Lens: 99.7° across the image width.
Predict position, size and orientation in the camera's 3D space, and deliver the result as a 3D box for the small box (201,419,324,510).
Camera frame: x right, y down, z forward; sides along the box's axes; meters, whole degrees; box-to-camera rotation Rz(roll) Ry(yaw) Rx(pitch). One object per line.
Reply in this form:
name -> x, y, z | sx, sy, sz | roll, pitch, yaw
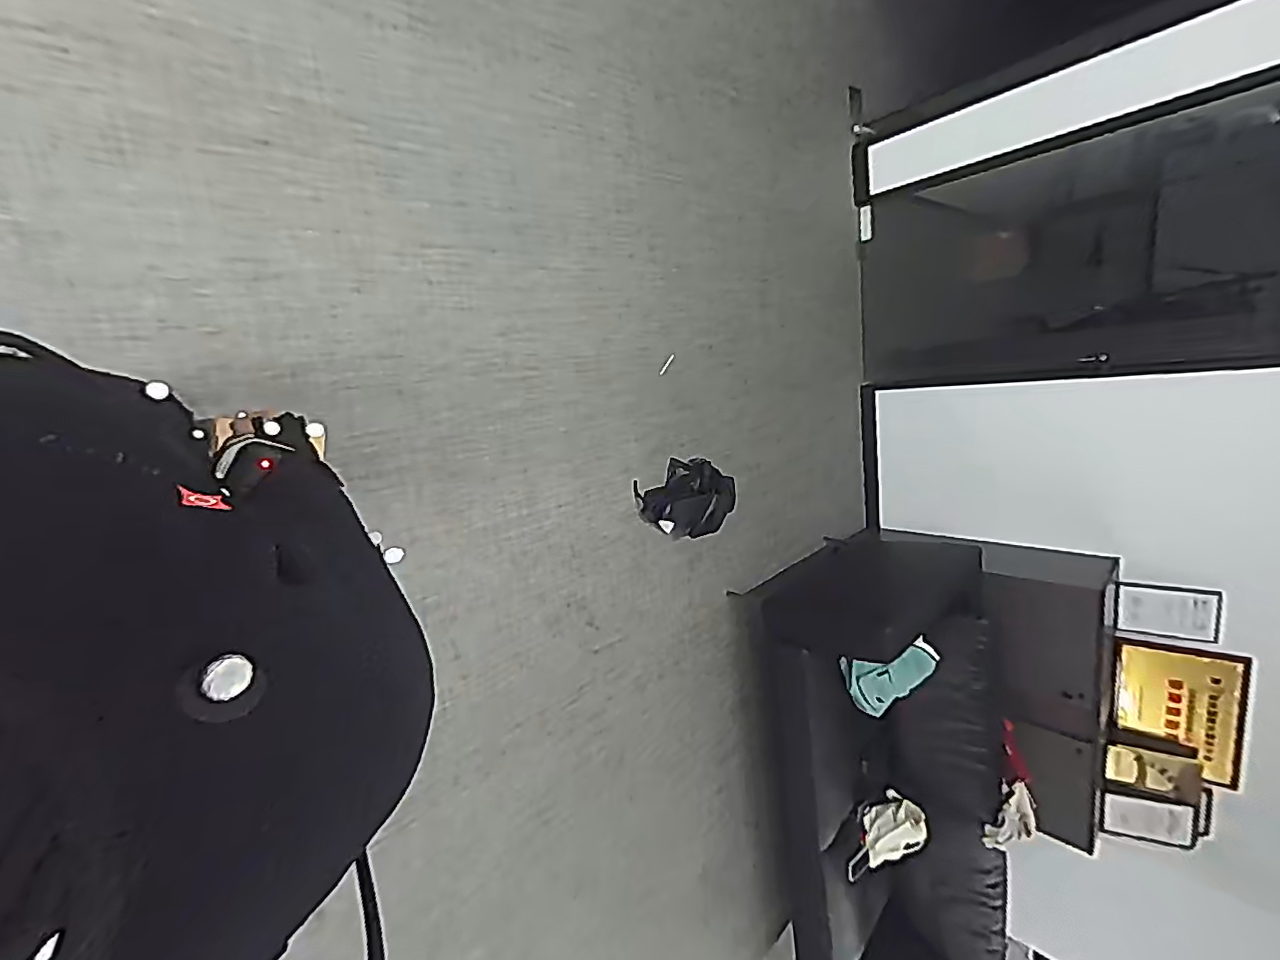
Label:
small box -> -0.765, -0.033, 1.095 | 0.179, 0.176, 0.168 | 3, 92, -43
